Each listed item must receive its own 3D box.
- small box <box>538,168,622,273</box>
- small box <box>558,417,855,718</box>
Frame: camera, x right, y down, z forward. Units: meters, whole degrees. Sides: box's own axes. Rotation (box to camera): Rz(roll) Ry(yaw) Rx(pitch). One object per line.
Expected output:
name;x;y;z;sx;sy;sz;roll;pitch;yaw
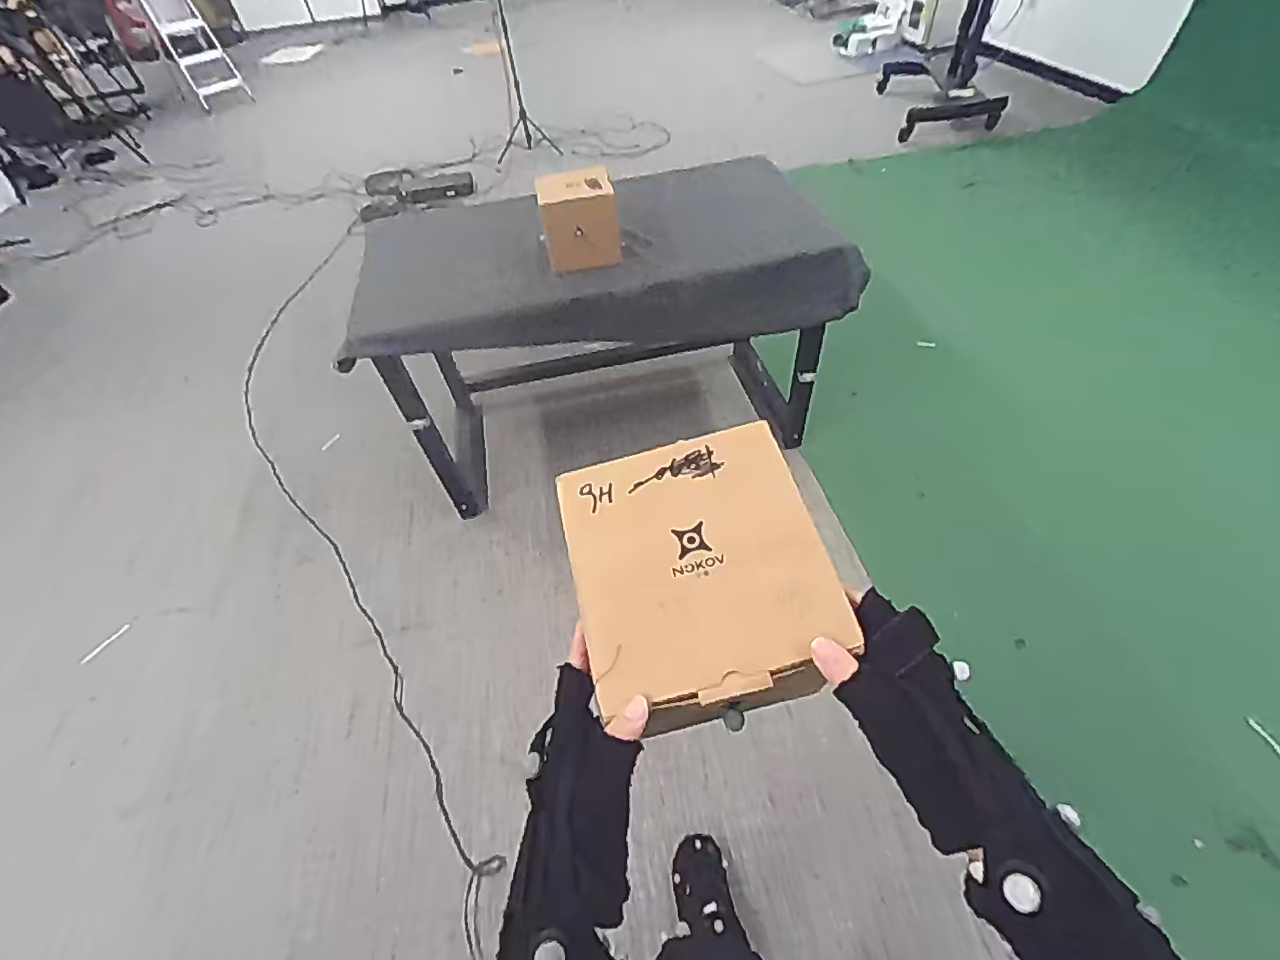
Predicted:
small box;-0.142;-0.631;1.320;0.179;0.176;0.168;-11;50;-2
small box;0.046;0.082;0.436;0.168;0.176;0.179;-15;61;-1
